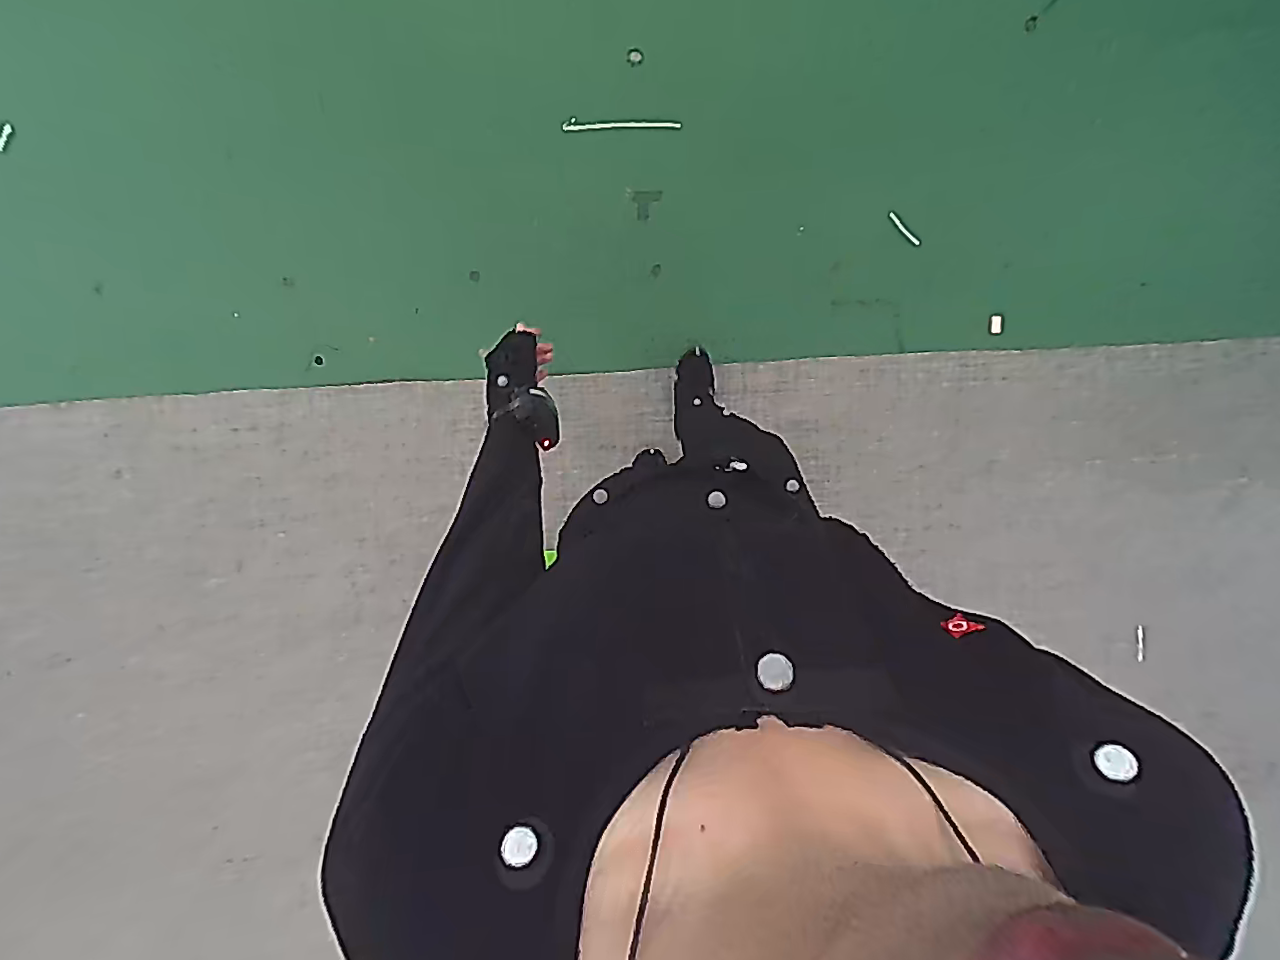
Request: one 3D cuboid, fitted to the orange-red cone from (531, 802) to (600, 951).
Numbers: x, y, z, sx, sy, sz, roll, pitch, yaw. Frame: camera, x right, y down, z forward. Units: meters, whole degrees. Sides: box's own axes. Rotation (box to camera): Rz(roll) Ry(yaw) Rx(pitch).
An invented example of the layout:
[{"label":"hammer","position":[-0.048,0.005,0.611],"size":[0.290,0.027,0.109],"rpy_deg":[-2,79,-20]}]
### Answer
[{"label":"orange-red cone","position":[-0.207,1.031,1.388],"size":[0.198,0.360,0.199],"rpy_deg":[1,92,-3]}]
